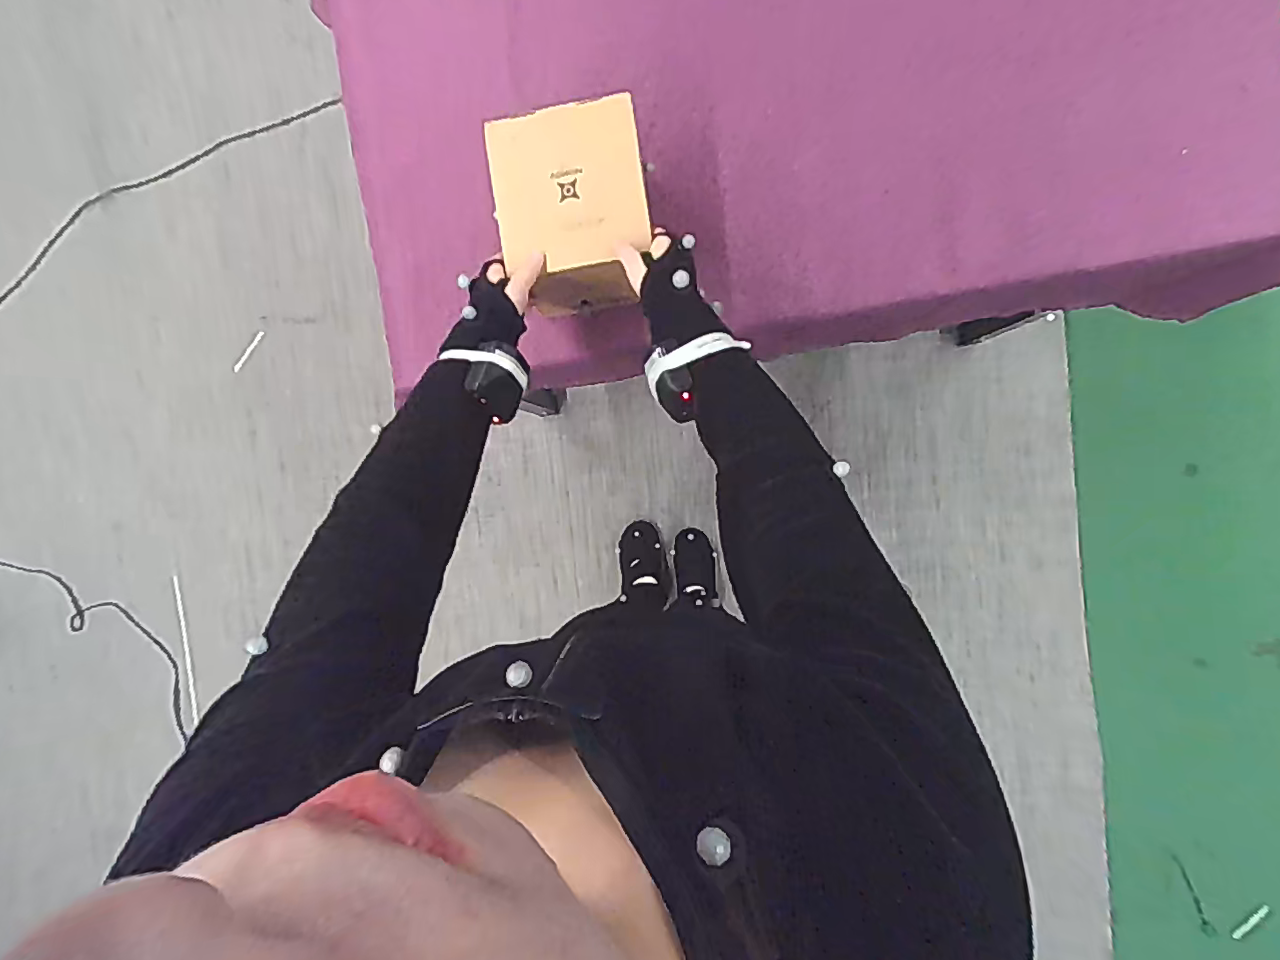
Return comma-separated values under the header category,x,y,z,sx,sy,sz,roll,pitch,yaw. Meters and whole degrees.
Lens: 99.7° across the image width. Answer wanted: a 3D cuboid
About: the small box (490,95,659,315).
category,x,y,z,sx,sy,sz,roll,pitch,yaw
small box,-0.069,-0.321,0.667,0.168,0.176,0.179,-8,92,5
